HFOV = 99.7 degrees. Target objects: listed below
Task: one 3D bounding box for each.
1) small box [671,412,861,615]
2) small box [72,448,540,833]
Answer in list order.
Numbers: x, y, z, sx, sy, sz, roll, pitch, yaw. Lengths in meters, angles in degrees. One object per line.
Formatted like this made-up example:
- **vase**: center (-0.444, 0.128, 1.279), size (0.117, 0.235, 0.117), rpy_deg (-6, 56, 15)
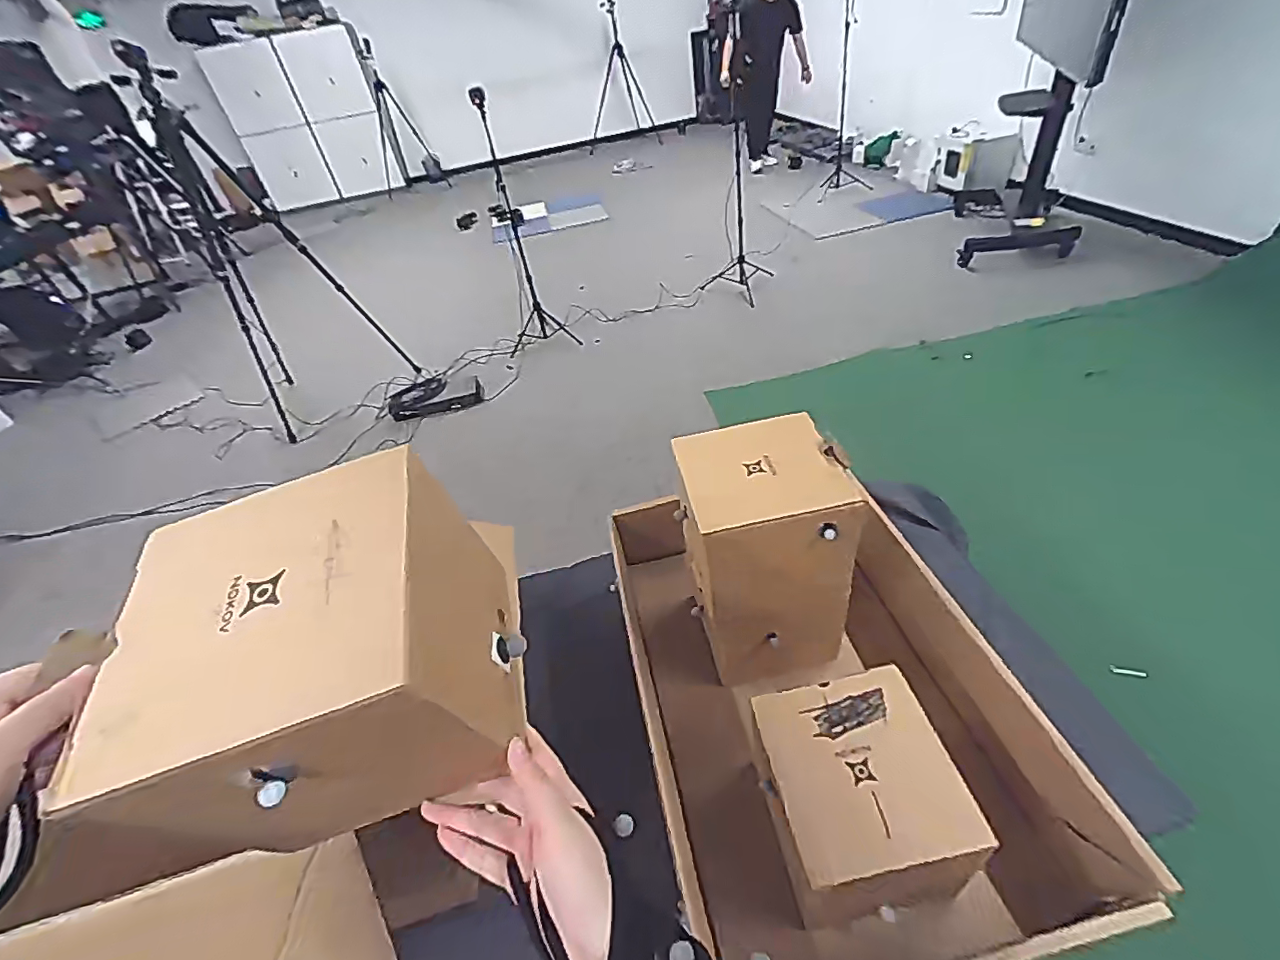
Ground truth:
- **small box**: center (0.146, 0.044, 0.667), size (0.179, 0.176, 0.168), rpy_deg (-12, 43, -1)
- **small box**: center (-0.185, 0.113, 0.362), size (0.179, 0.176, 0.168), rpy_deg (-19, 51, -2)
